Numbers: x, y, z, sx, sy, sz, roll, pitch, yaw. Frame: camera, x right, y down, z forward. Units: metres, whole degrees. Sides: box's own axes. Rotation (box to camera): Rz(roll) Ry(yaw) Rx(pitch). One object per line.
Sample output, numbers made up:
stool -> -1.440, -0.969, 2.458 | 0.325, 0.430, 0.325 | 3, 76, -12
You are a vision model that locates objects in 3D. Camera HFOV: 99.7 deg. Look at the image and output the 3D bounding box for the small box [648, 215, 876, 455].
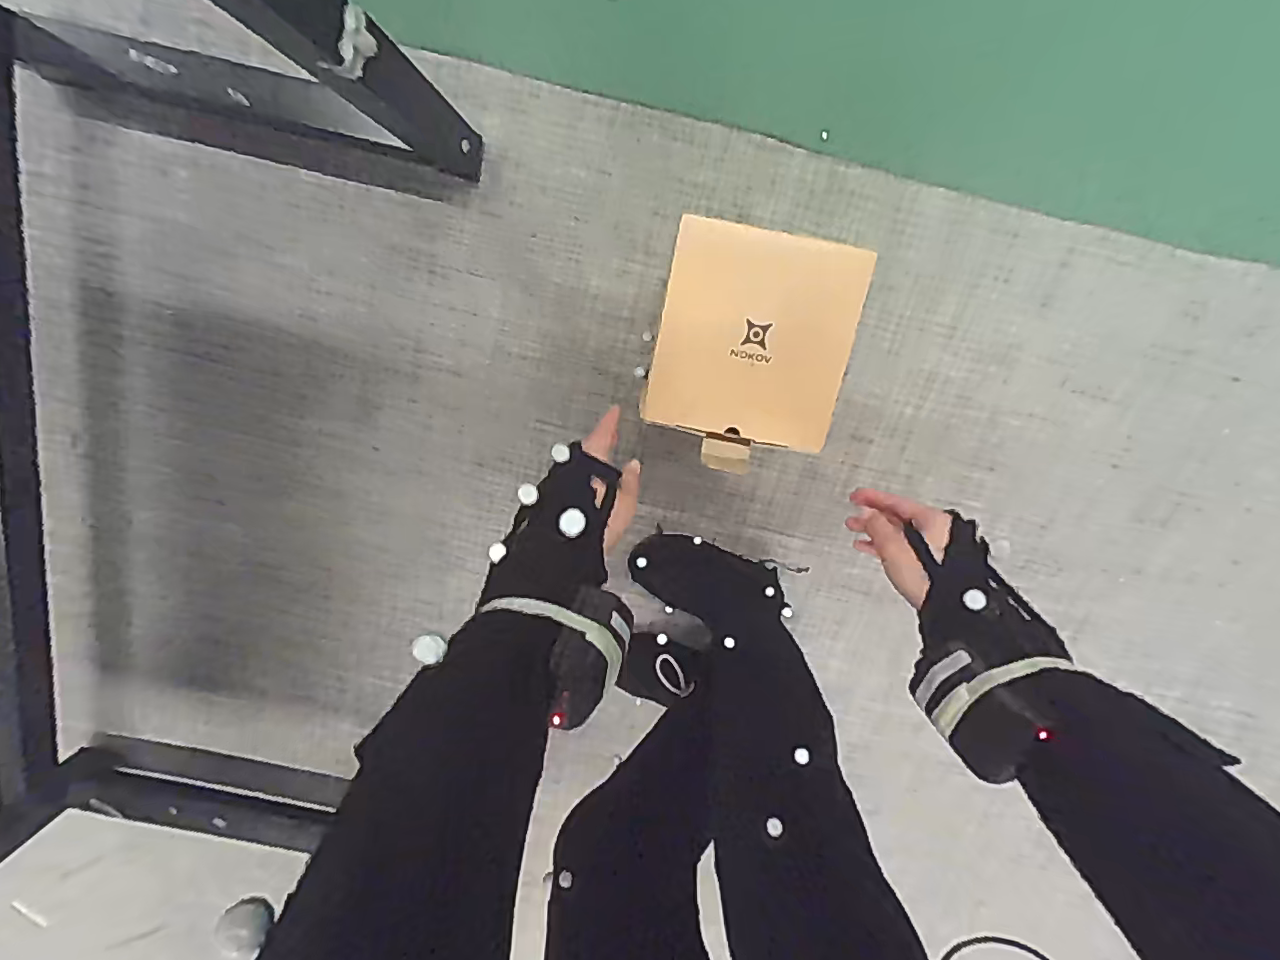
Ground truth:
small box -> 0.102, -0.139, 0.541 | 0.168, 0.176, 0.179 | 11, 105, -1
